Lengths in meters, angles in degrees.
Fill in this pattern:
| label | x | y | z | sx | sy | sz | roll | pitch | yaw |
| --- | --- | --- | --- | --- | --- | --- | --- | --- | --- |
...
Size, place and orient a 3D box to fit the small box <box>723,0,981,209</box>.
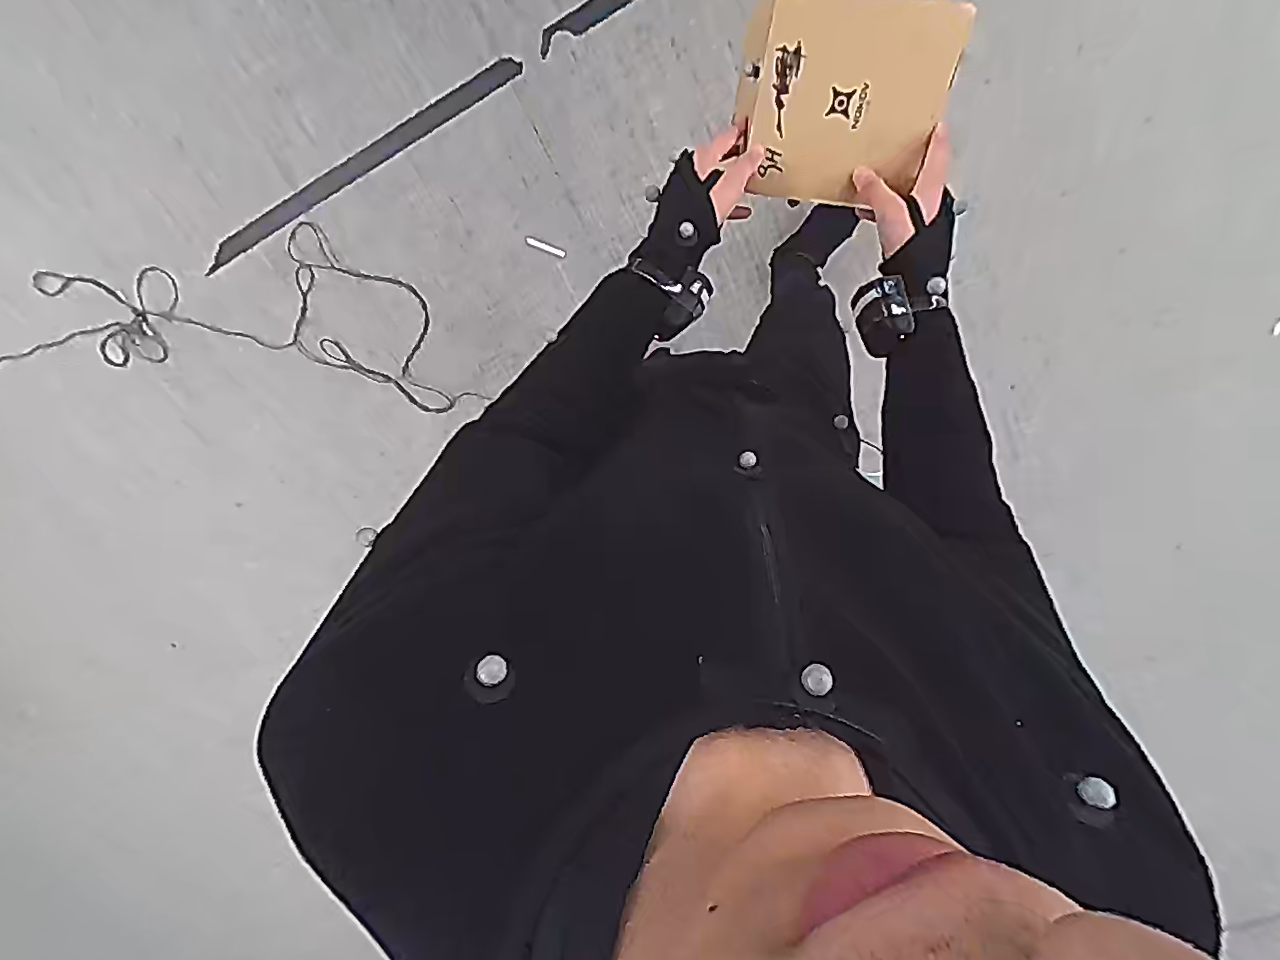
| label | x | y | z | sx | sy | sz | roll | pitch | yaw |
| --- | --- | --- | --- | --- | --- | --- | --- | --- | --- |
| small box | 0.196 | -0.394 | 0.562 | 0.179 | 0.176 | 0.168 | 6 | 123 | -3 |
